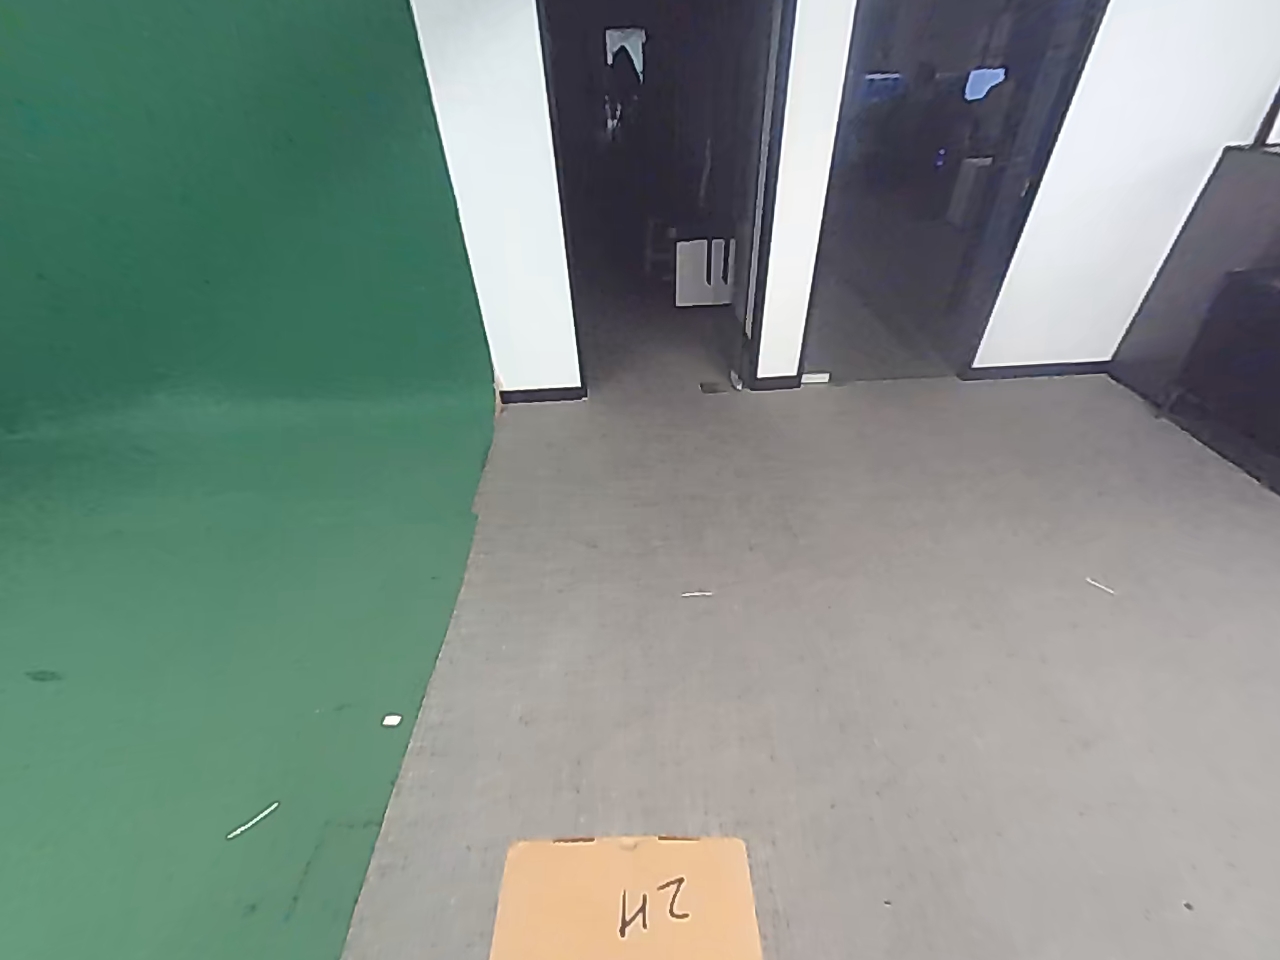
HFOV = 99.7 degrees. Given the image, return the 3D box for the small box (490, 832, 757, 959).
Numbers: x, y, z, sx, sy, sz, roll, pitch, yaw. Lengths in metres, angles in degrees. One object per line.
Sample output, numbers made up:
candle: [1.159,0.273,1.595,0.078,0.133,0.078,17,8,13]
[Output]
small box: [-0.011,0.368,0.361,0.168,0.176,0.179,1,35,0]
